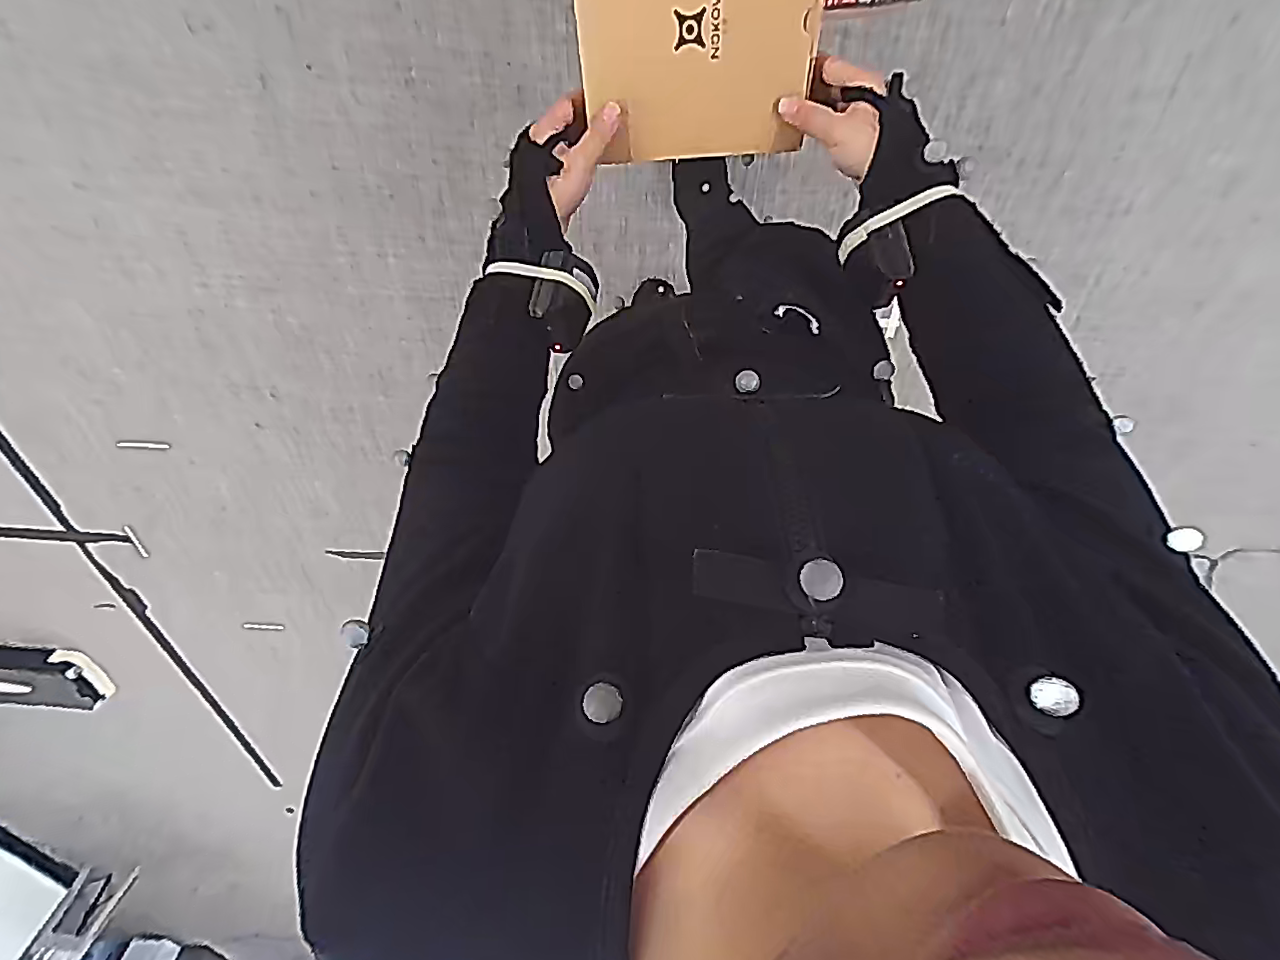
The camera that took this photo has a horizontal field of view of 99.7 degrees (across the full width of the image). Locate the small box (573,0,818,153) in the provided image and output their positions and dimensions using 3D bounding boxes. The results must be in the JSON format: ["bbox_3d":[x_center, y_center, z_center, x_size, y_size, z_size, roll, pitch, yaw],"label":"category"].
[{"bbox_3d":[0.040,-0.385,0.447,0.179,0.176,0.168,-3,133,2],"label":"small box"}]
